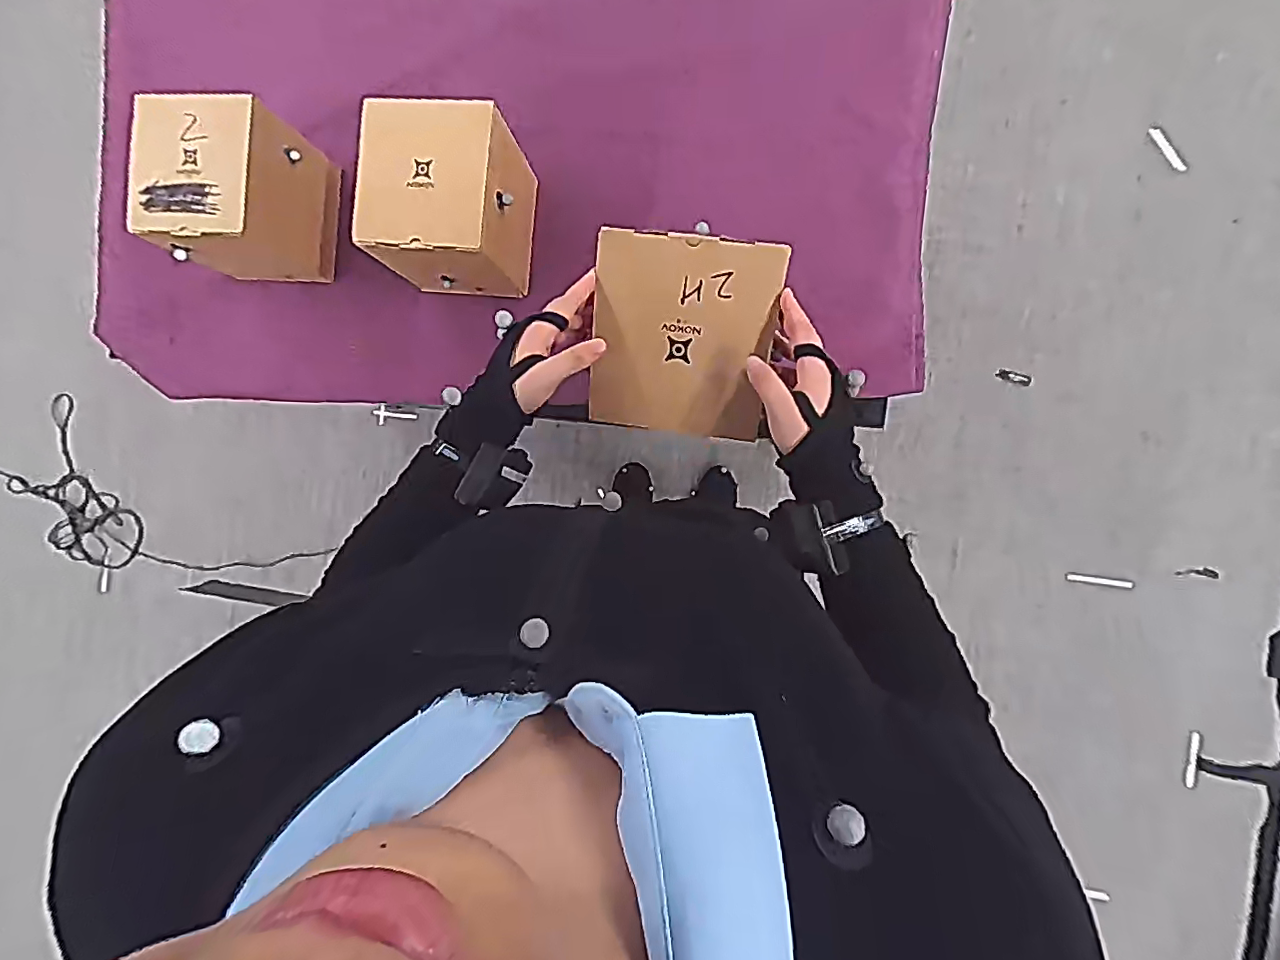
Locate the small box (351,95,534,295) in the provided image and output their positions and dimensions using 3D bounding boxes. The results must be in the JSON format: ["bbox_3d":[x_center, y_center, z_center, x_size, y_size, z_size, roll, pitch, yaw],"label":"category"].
[{"bbox_3d":[-0.248,-0.365,0.717,0.168,0.176,0.179,6,92,6],"label":"small box"}]

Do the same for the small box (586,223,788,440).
[{"bbox_3d":[0.048,-0.159,0.561,0.168,0.176,0.179,8,113,6],"label":"small box"}]
